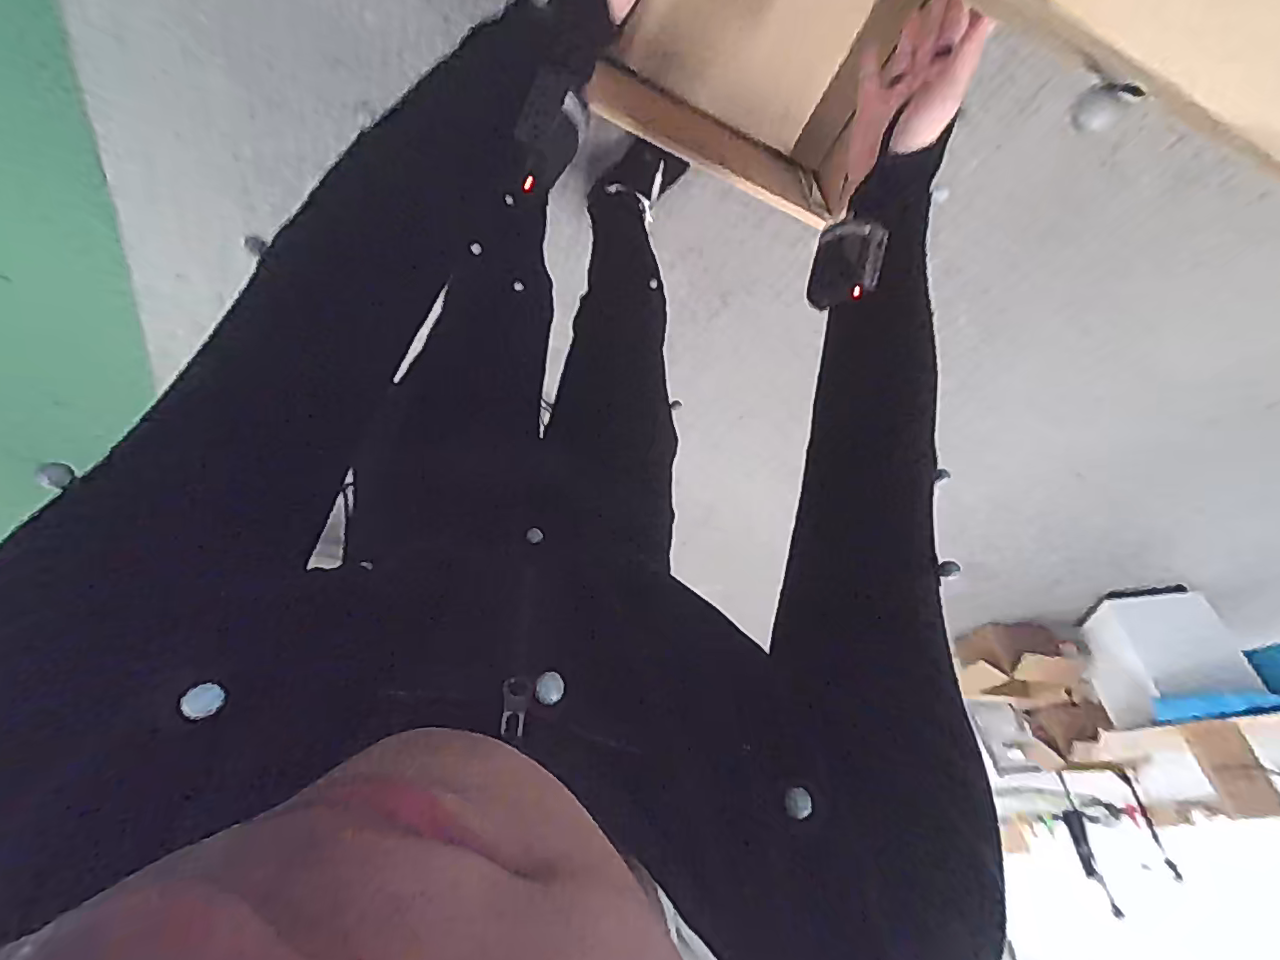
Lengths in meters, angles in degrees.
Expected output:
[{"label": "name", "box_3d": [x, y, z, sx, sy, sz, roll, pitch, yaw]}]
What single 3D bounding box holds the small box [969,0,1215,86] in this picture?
[{"label": "small box", "box_3d": [0.187, -0.313, 0.211, 0.168, 0.176, 0.179, 17, 139, -20]}]
